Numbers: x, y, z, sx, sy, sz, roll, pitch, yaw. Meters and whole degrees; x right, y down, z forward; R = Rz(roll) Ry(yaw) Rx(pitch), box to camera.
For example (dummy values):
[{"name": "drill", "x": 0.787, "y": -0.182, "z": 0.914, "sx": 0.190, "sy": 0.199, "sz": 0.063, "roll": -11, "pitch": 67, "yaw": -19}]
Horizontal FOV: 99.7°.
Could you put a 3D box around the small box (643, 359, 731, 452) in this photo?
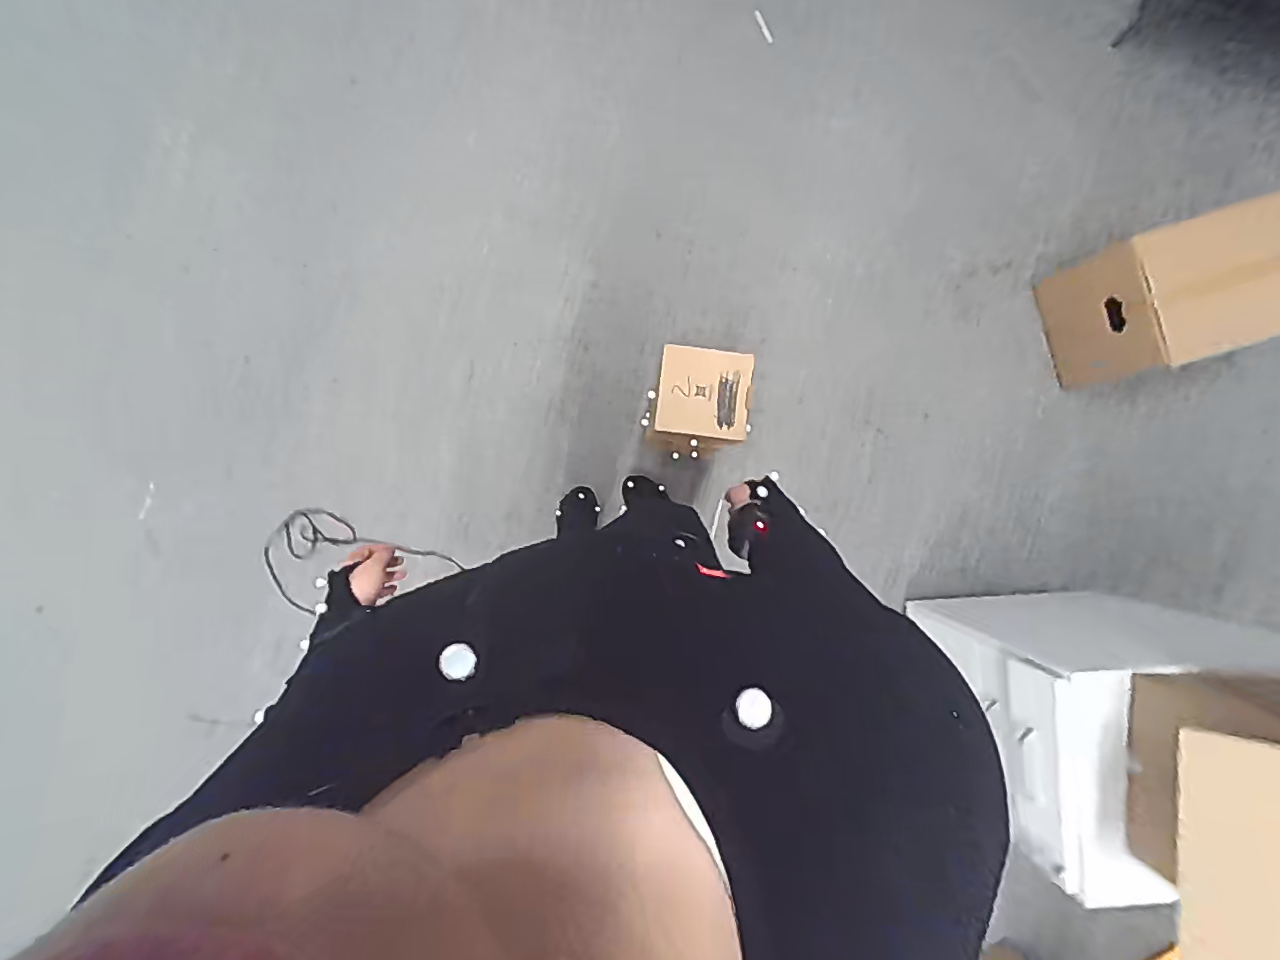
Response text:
[{"name": "small box", "x": 0.103, "y": -0.165, "z": 1.266, "sx": 0.168, "sy": 0.176, "sz": 0.179, "roll": 10, "pitch": 89, "yaw": -3}]

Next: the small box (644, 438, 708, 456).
[{"name": "small box", "x": 0.109, "y": -0.164, "z": 1.429, "sx": 0.168, "sy": 0.176, "sz": 0.179, "roll": 13, "pitch": 90, "yaw": -2}]
